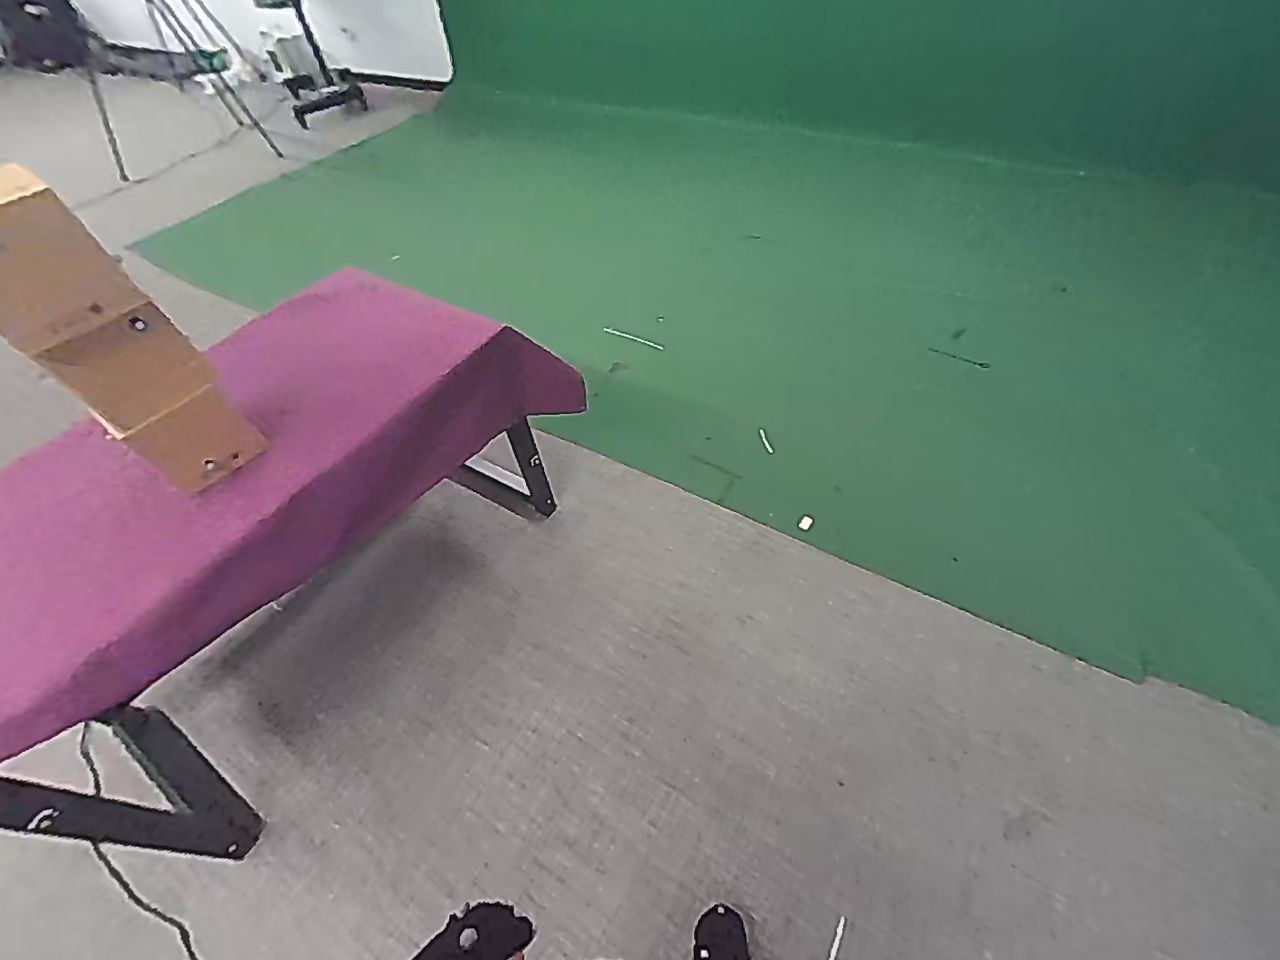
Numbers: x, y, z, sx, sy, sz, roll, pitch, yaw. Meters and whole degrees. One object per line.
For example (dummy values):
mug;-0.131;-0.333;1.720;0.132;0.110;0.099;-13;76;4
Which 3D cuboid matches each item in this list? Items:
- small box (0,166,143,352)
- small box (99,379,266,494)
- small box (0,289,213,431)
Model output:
small box;-0.857;-0.303;0.745;0.179;0.176;0.168;29;60;27
small box;-0.853;-0.102;1.003;0.179;0.176;0.168;29;60;25
small box;-0.863;-0.209;0.882;0.168;0.176;0.179;27;59;25
